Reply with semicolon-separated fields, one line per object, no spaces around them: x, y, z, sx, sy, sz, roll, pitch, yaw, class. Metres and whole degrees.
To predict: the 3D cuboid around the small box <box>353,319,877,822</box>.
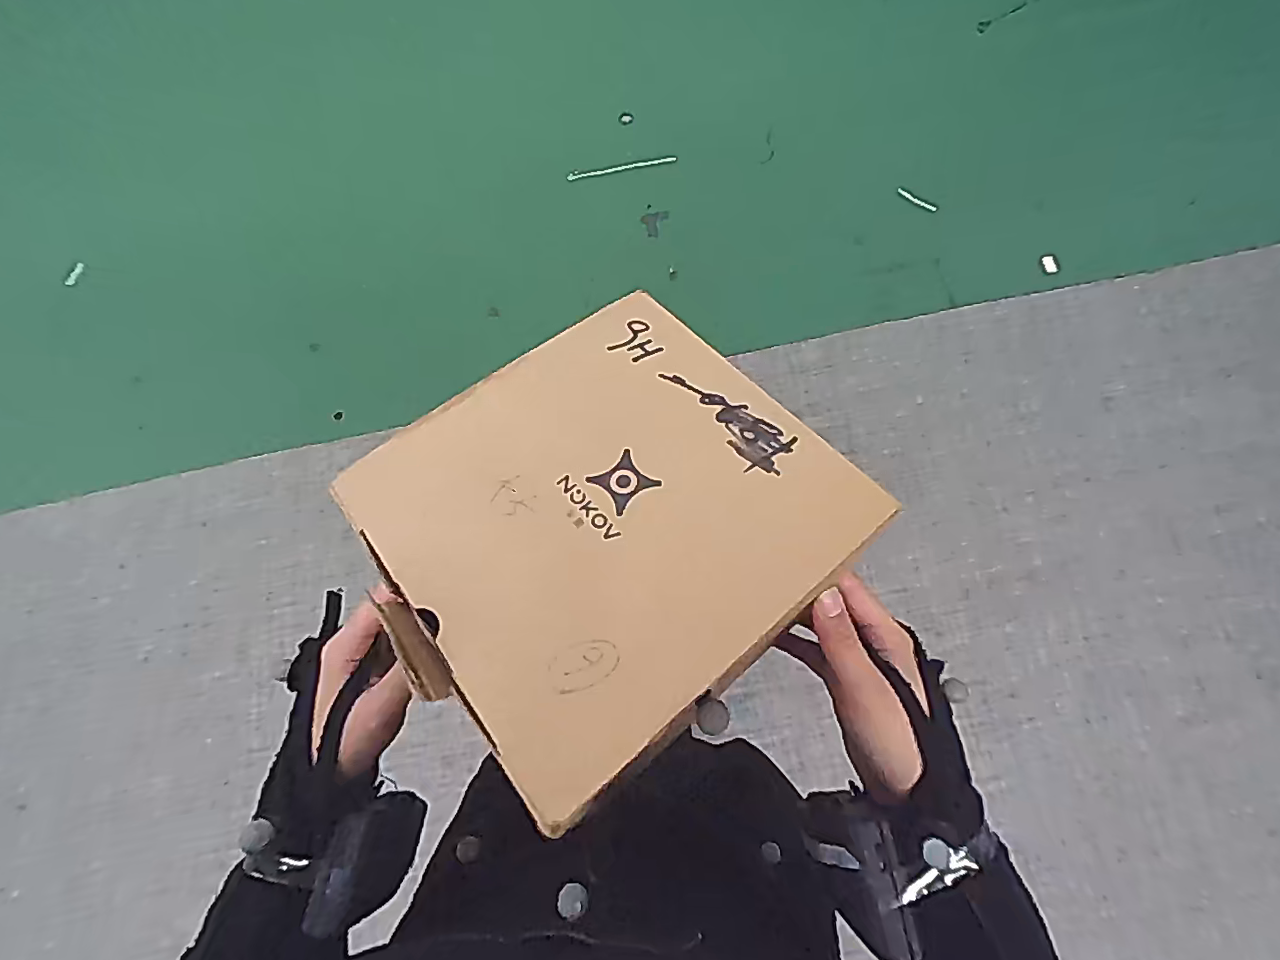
-0.011;0.053;0.305;0.179;0.176;0.168;-37;66;-17;small box
